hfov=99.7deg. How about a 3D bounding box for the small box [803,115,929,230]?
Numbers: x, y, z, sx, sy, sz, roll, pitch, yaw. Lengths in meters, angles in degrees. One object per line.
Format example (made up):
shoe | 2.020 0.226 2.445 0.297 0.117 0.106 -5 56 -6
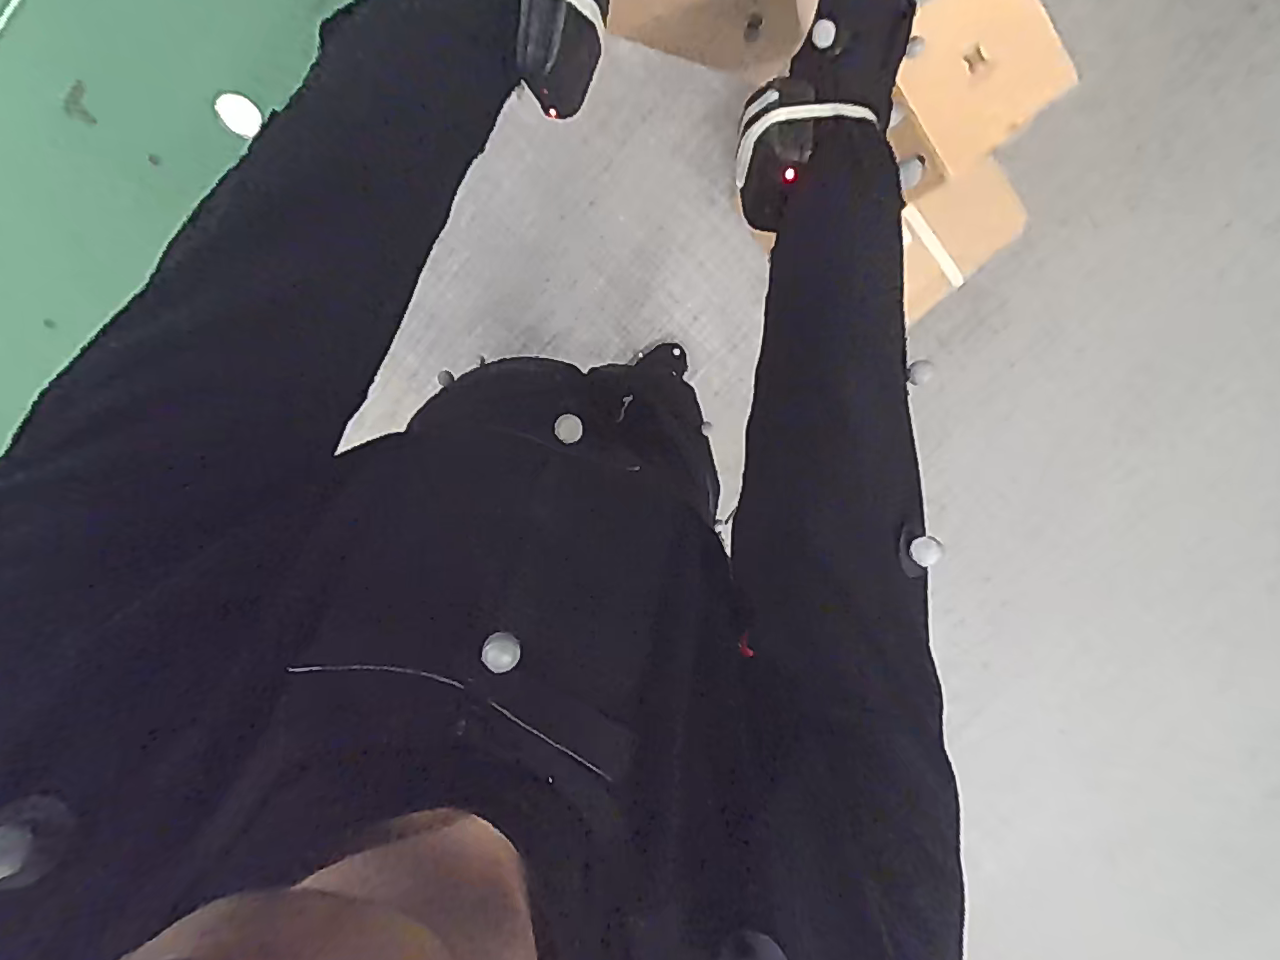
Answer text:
small box | 0.385 -0.514 0.835 0.168 0.176 0.179 -40 99 9

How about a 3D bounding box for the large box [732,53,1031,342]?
large box | 0.443 -0.530 1.080 0.320 0.320 0.408 -39 101 11

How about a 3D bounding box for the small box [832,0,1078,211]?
small box | 0.374 -0.475 0.677 0.168 0.176 0.179 -38 101 8
